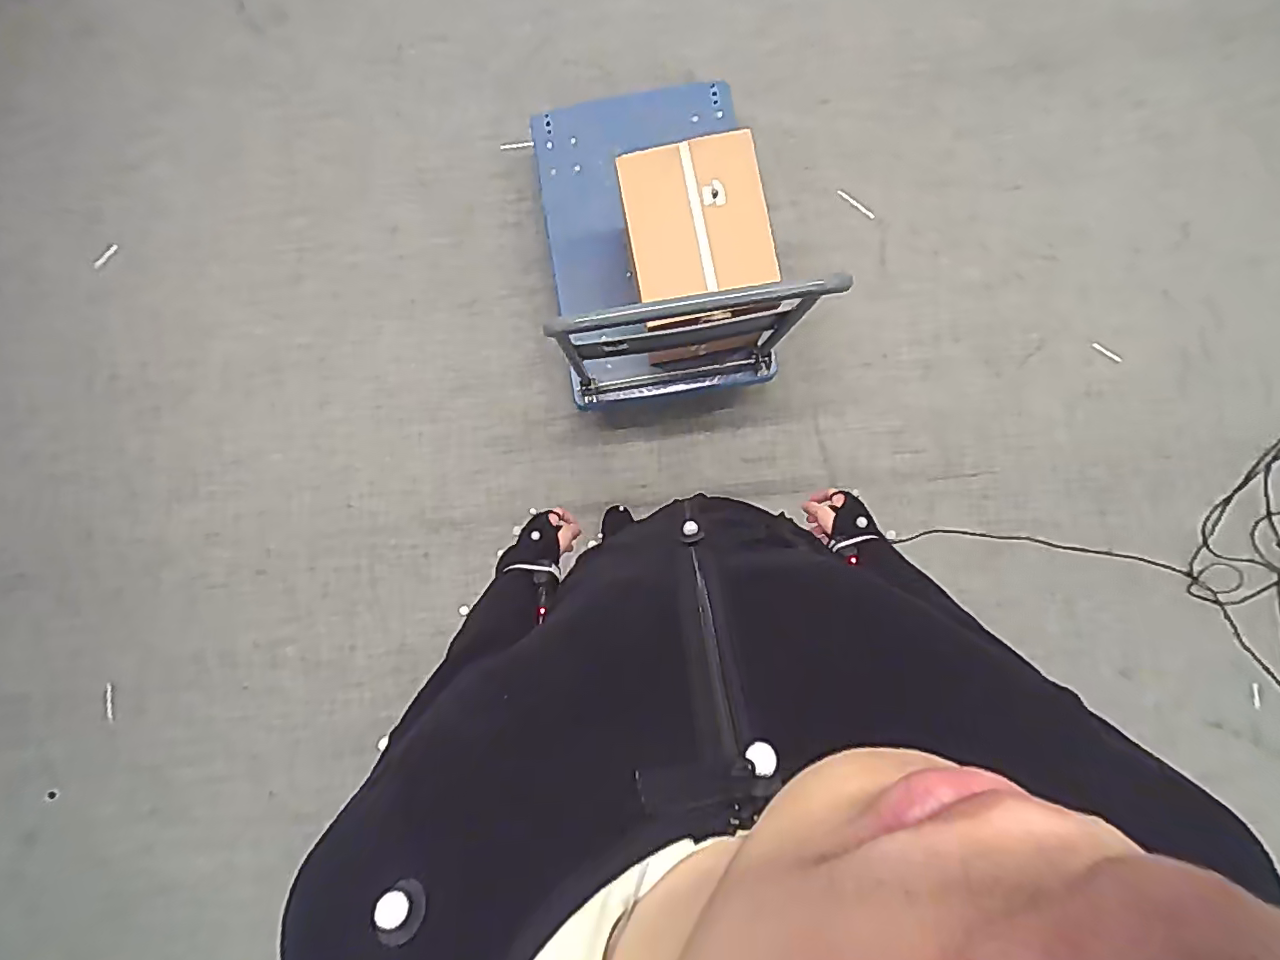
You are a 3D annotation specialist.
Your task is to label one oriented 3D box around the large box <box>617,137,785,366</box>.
[{"bbox_3d":[0.142,-0.545,1.361,0.320,0.320,0.408,-11,86,1],"label":"large box"}]
